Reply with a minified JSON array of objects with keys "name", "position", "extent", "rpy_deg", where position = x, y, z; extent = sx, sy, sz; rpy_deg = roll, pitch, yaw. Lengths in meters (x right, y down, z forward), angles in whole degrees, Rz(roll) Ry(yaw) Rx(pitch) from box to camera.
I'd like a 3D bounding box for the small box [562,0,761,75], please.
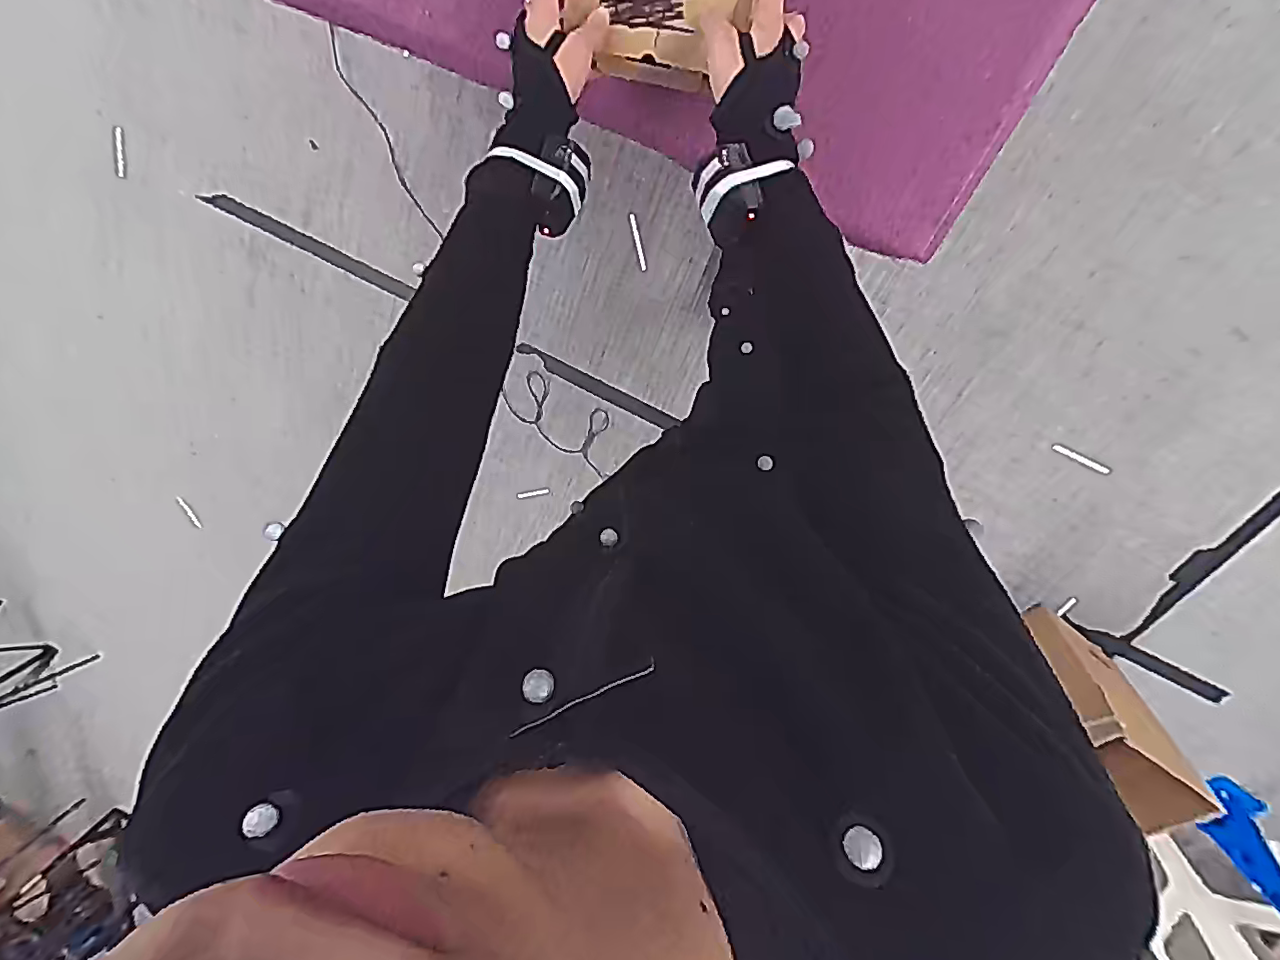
[{"name":"small box","position":[0.036,-0.504,0.509],"extent":[0.168,0.176,0.179],"rpy_deg":[14,125,5]}]
